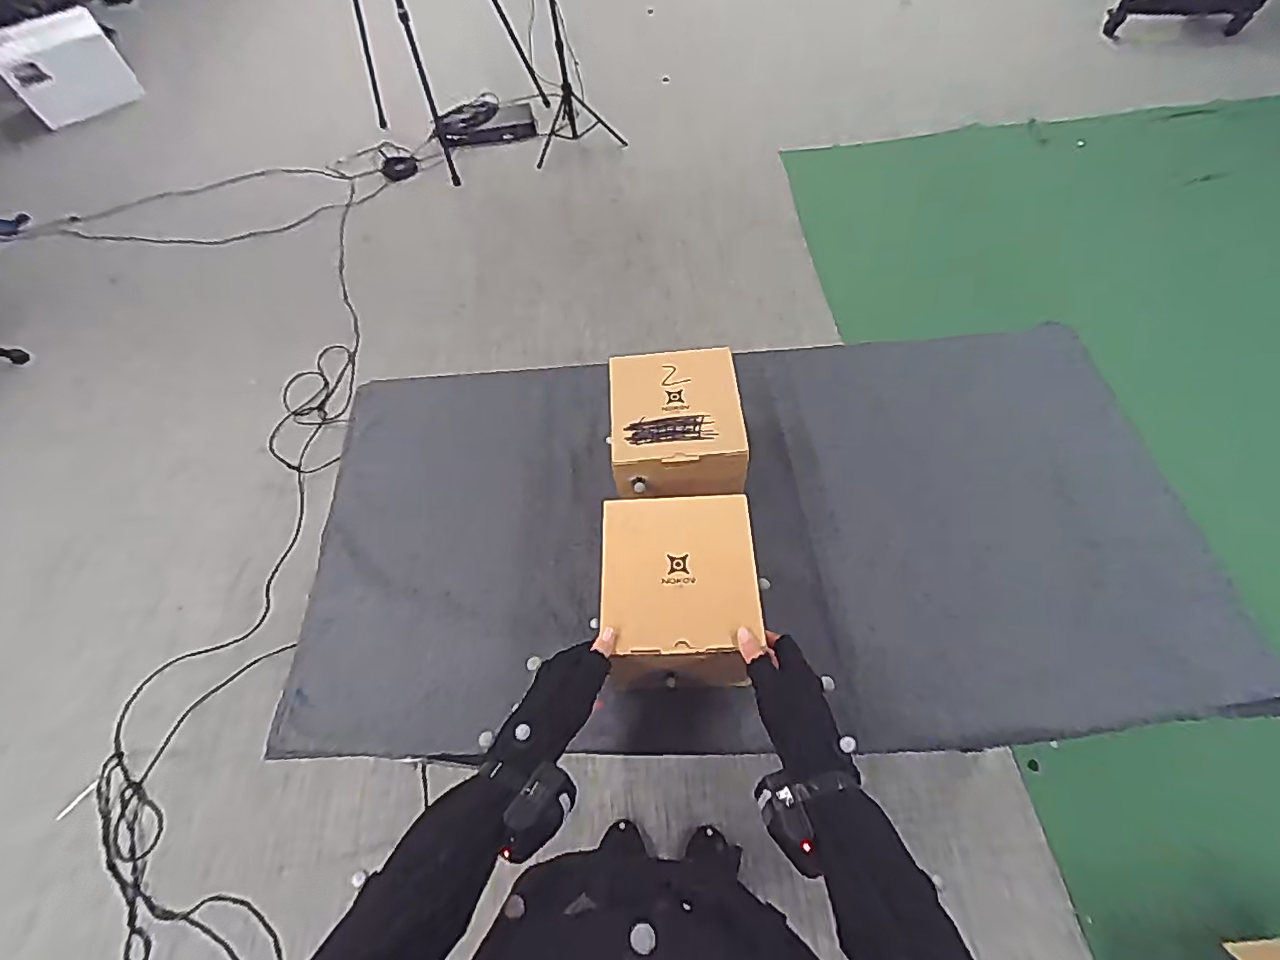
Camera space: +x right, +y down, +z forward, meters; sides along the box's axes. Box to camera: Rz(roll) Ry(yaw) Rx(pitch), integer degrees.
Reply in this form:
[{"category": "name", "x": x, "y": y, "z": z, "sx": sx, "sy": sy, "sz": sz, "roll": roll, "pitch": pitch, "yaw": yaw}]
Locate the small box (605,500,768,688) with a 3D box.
[{"category": "small box", "x": 0.051, "y": 0.140, "z": 0.647, "sx": 0.168, "sy": 0.176, "sz": 0.179, "roll": -3, "pitch": 59, "yaw": 3}]
